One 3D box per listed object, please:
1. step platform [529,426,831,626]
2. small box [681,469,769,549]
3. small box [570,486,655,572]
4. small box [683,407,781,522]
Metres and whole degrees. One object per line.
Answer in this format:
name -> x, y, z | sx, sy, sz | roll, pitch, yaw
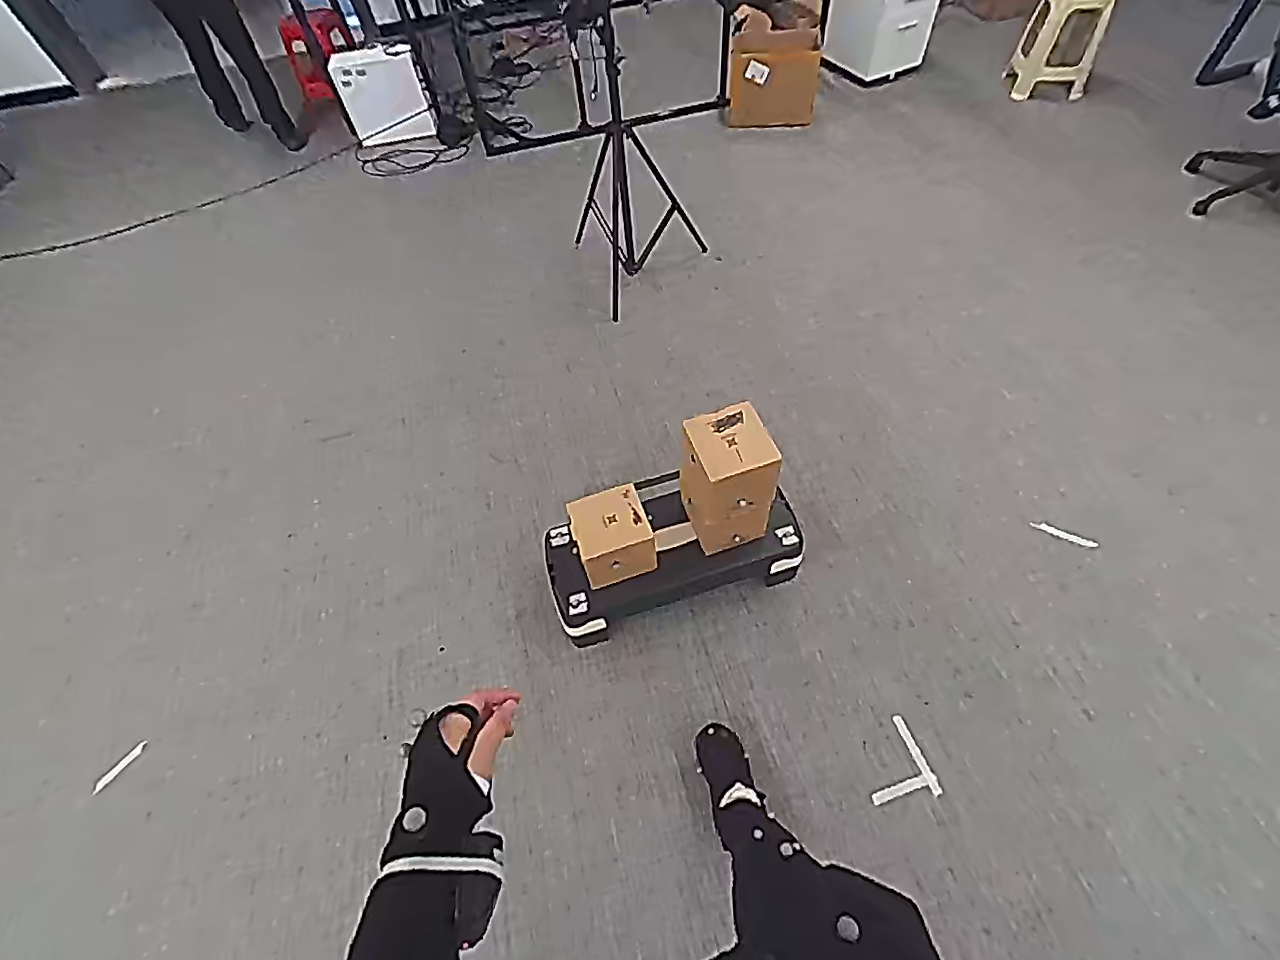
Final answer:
step platform -> 0.091, 0.111, 1.311 | 0.684, 0.204, 0.286 | -16, 55, -6
small box -> 0.208, 0.065, 1.374 | 0.168, 0.176, 0.179 | -18, 56, -6
small box -> -0.068, 0.149, 1.344 | 0.179, 0.176, 0.168 | -18, 56, -7
small box -> 0.202, -0.032, 1.242 | 0.168, 0.176, 0.179 | -18, 57, -6
